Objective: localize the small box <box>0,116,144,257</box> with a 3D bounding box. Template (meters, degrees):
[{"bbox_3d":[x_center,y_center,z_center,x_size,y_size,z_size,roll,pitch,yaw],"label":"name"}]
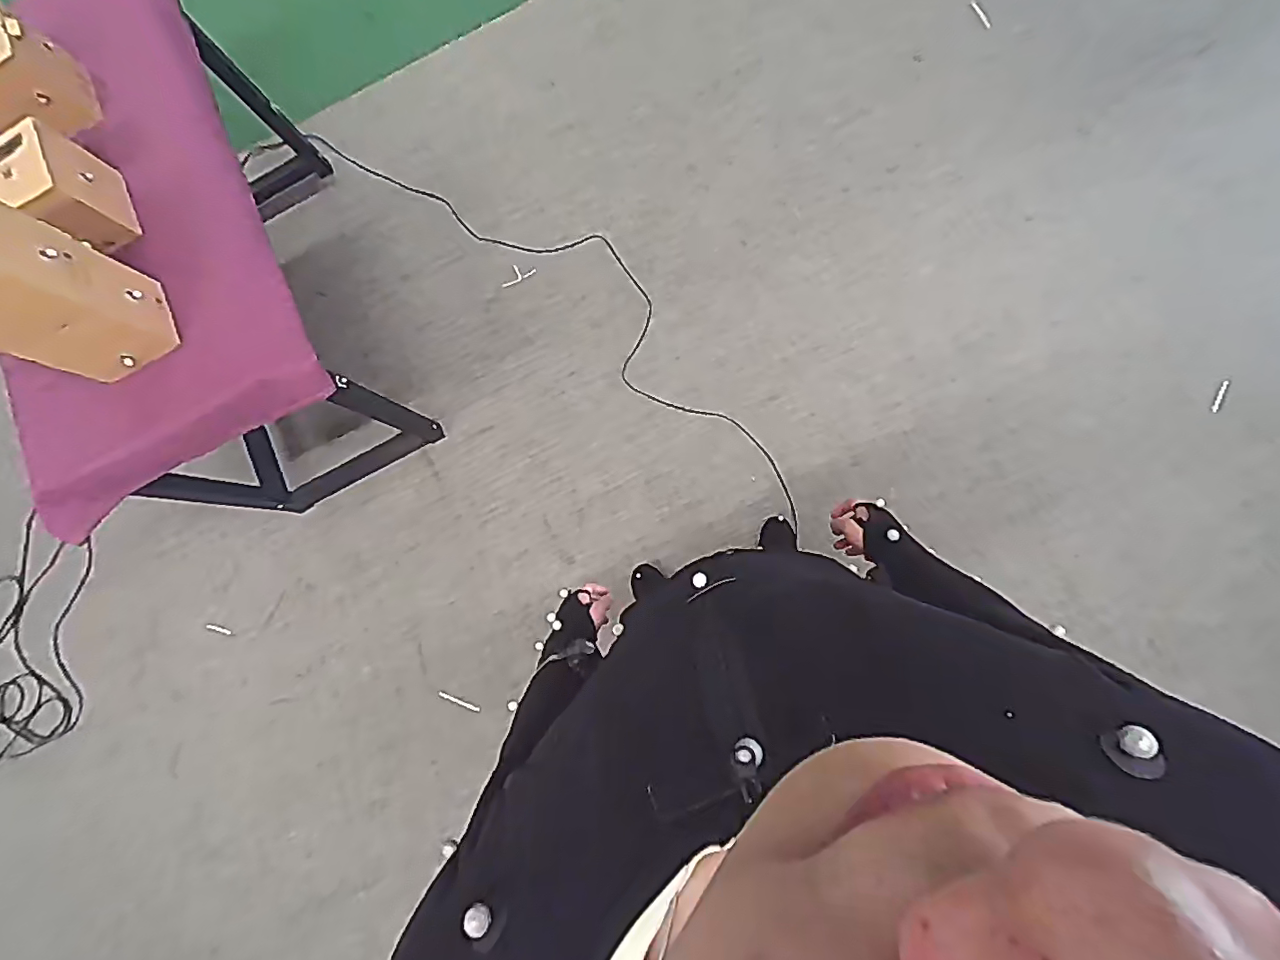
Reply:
[{"bbox_3d":[-1.191,-0.584,1.114,0.168,0.176,0.179,-27,81,3],"label":"small box"}]

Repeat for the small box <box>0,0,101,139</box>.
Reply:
[{"bbox_3d":[-1.330,-0.866,1.171,0.179,0.176,0.168,-26,79,4],"label":"small box"}]

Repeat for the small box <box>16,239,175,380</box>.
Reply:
[{"bbox_3d":[-1.067,-0.325,1.062,0.179,0.176,0.168,-27,79,2],"label":"small box"}]

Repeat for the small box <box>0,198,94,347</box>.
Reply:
[{"bbox_3d":[-1.087,-0.351,0.900,0.179,0.176,0.168,-27,80,2],"label":"small box"}]
